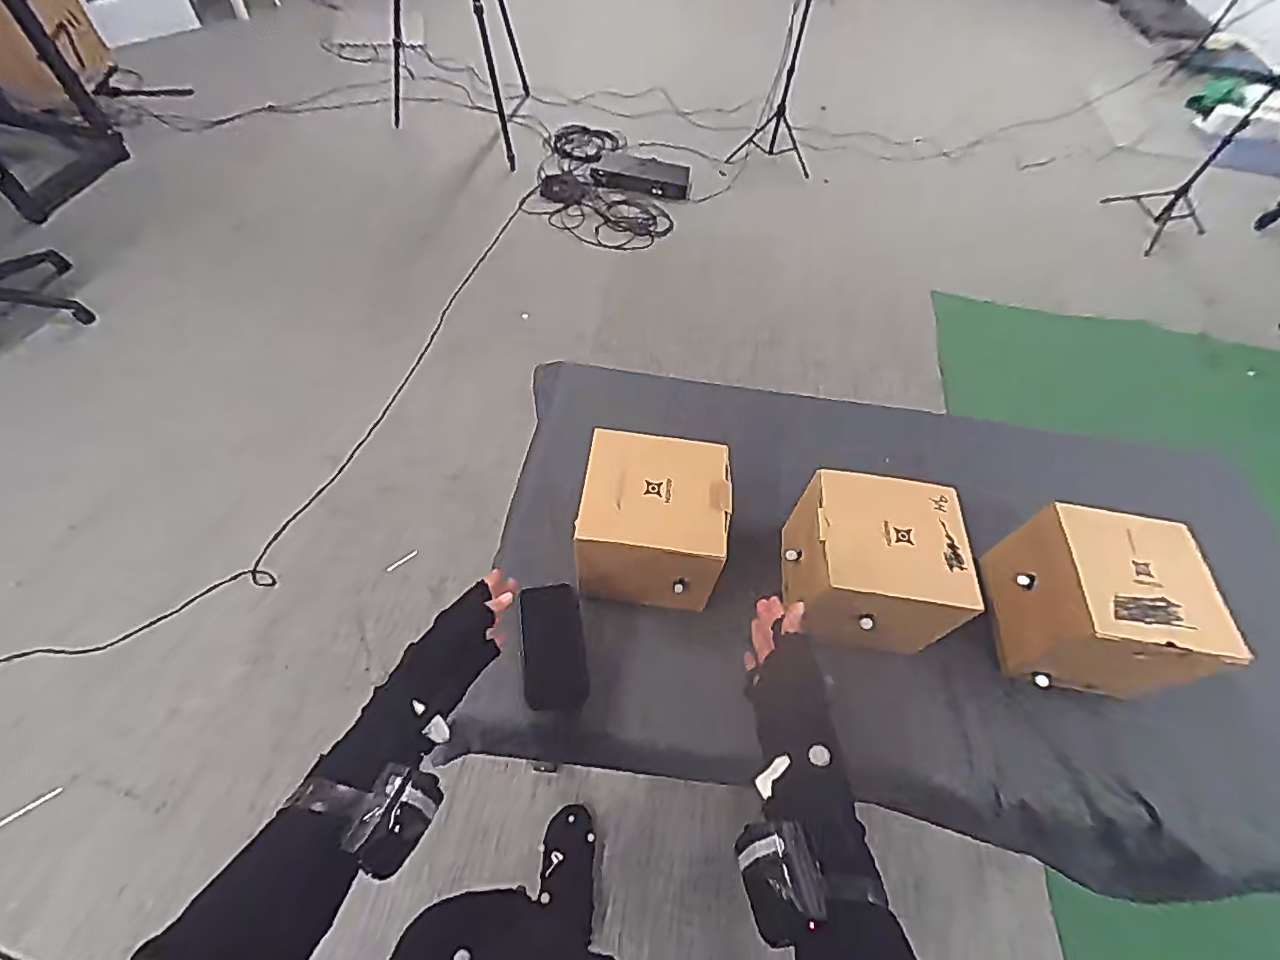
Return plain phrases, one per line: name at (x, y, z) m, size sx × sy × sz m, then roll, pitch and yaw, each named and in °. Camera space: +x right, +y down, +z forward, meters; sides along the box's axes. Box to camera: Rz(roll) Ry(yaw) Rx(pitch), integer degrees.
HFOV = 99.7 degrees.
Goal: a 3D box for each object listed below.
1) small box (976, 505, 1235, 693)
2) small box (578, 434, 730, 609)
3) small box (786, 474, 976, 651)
small box at (0.578, 0.161, 0.705) m, size 0.168 × 0.176 × 0.179 m, roll 10°, pitch 55°, yaw 2°
small box at (0.017, 0.062, 0.724) m, size 0.179 × 0.176 × 0.168 m, roll 6°, pitch 54°, yaw 0°
small box at (0.296, 0.114, 0.714) m, size 0.179 × 0.176 × 0.168 m, roll 8°, pitch 56°, yaw 1°
